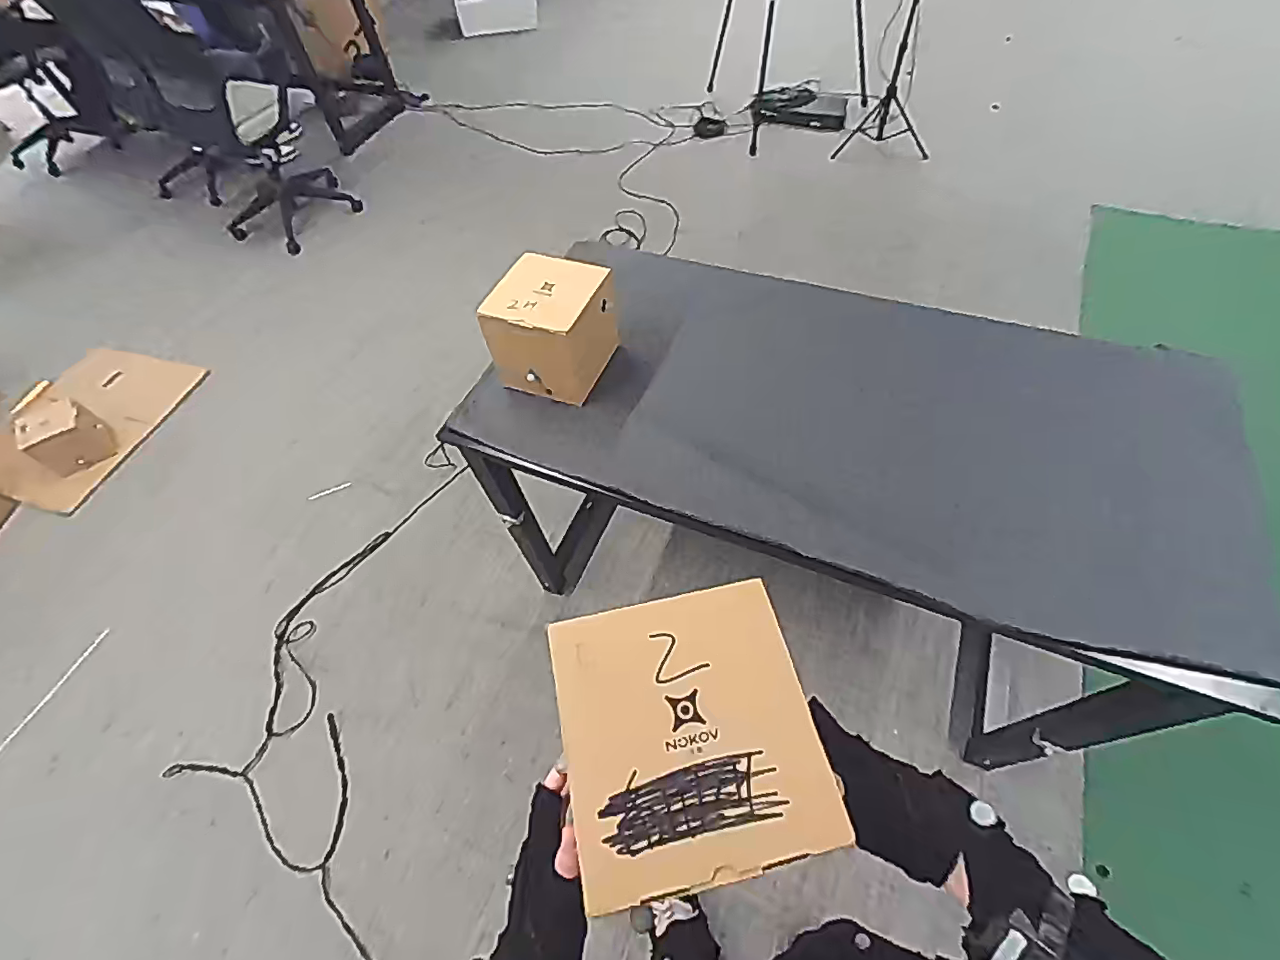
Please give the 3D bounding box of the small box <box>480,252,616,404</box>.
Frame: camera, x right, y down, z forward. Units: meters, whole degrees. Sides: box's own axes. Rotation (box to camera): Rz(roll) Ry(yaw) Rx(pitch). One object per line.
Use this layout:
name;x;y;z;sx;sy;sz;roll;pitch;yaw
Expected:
small box;-0.149;-0.265;0.950;0.168;0.176;0.179;17;58;14
